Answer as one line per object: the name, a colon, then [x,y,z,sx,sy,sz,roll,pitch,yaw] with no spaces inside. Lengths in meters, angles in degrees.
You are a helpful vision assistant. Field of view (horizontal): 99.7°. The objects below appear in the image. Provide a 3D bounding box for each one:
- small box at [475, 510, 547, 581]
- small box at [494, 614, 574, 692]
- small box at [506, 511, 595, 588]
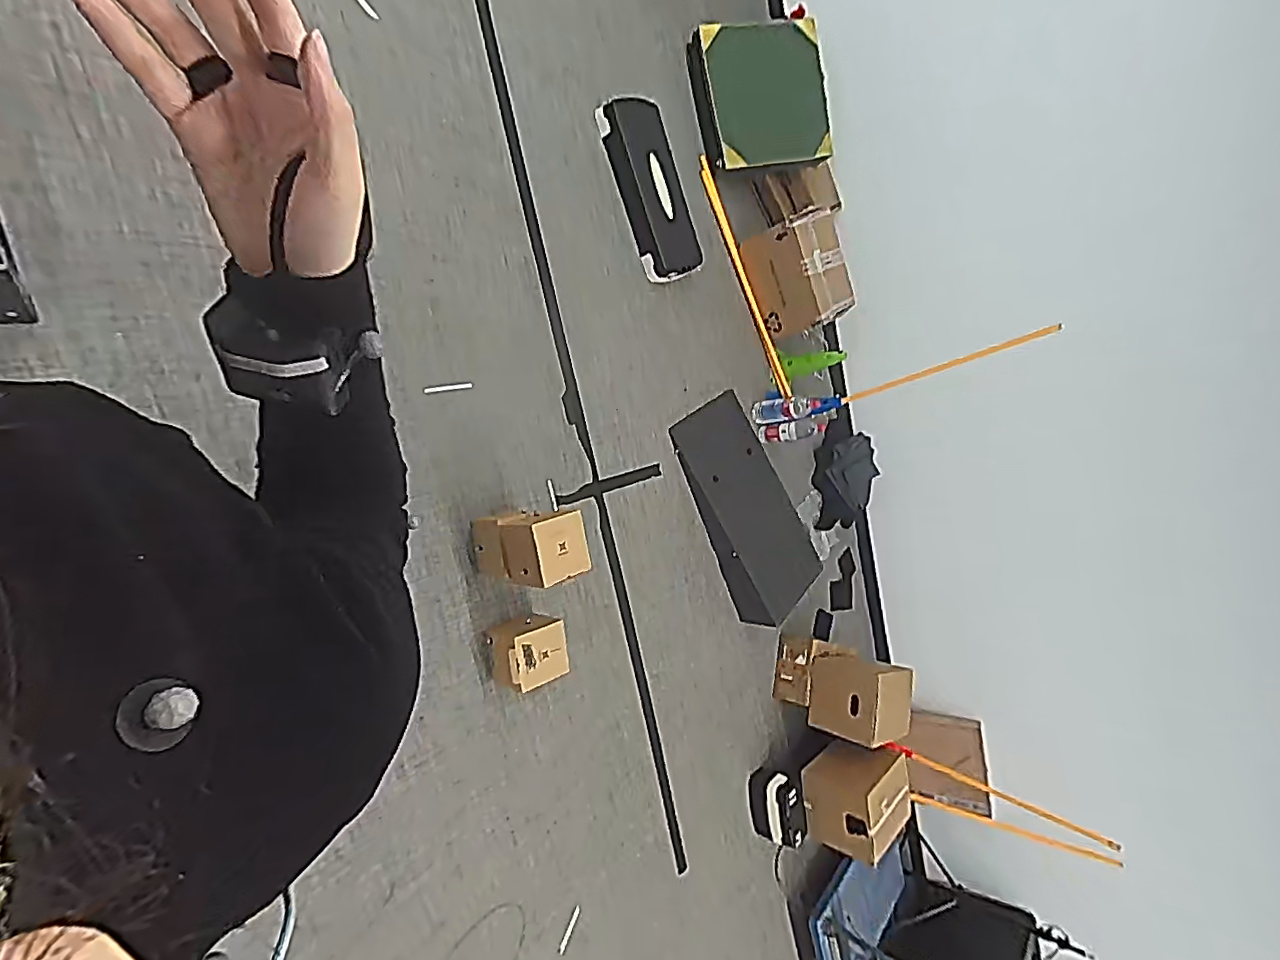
small box: [-0.374,0.189,1.620,0.168,0.176,0.179,-11,95,-43]
small box: [-0.327,0.518,1.642,0.179,0.176,0.168,-10,94,-44]
small box: [-0.252,0.187,1.511,0.168,0.176,0.179,-17,98,-43]
